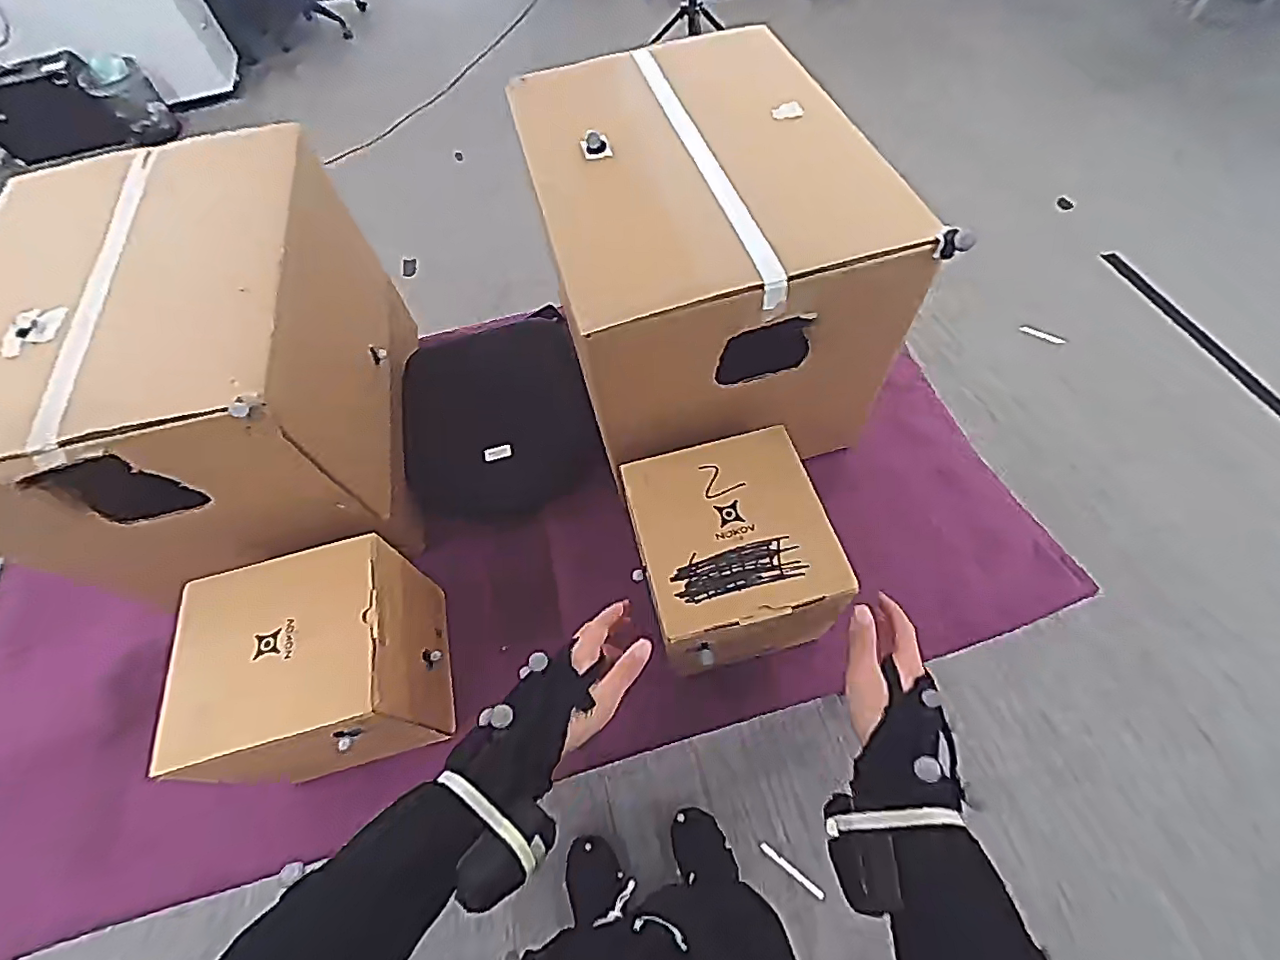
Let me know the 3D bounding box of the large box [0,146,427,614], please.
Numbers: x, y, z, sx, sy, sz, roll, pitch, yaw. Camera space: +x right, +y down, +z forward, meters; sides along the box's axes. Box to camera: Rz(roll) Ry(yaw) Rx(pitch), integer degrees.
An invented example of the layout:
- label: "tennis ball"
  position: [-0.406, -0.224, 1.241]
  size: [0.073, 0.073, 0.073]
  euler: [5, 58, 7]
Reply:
- label: "large box"
  position: [-0.472, -0.103, 0.638]
  size: [0.320, 0.320, 0.408]
  euler: [-15, 62, -3]
